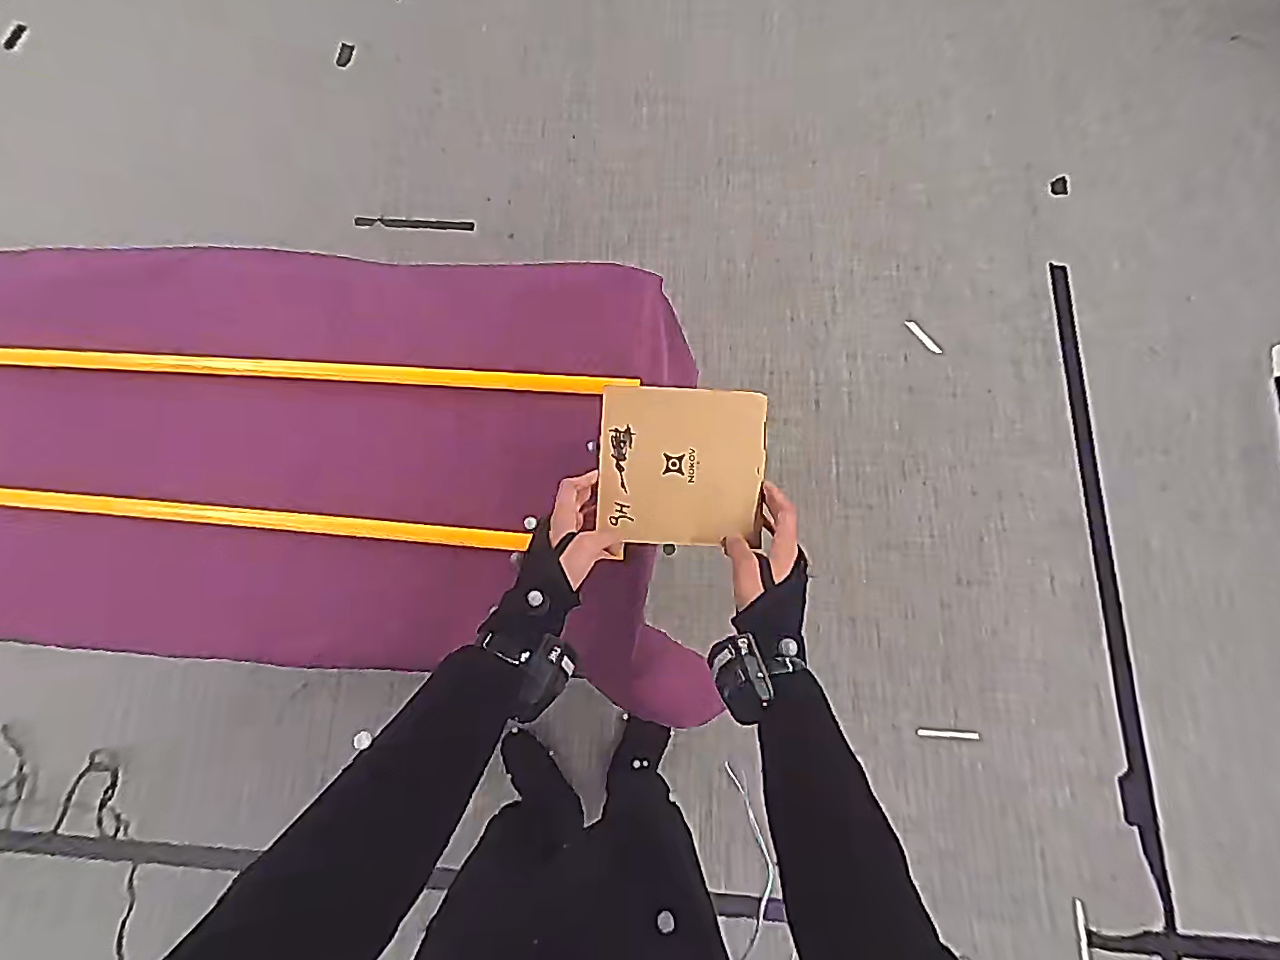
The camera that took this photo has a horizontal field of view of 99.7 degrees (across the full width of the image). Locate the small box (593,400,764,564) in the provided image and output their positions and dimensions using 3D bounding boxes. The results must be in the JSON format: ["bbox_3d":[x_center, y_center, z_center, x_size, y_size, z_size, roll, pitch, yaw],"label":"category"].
[{"bbox_3d":[0.040,0.007,0.654,0.179,0.176,0.168,4,85,-1],"label":"small box"}]
